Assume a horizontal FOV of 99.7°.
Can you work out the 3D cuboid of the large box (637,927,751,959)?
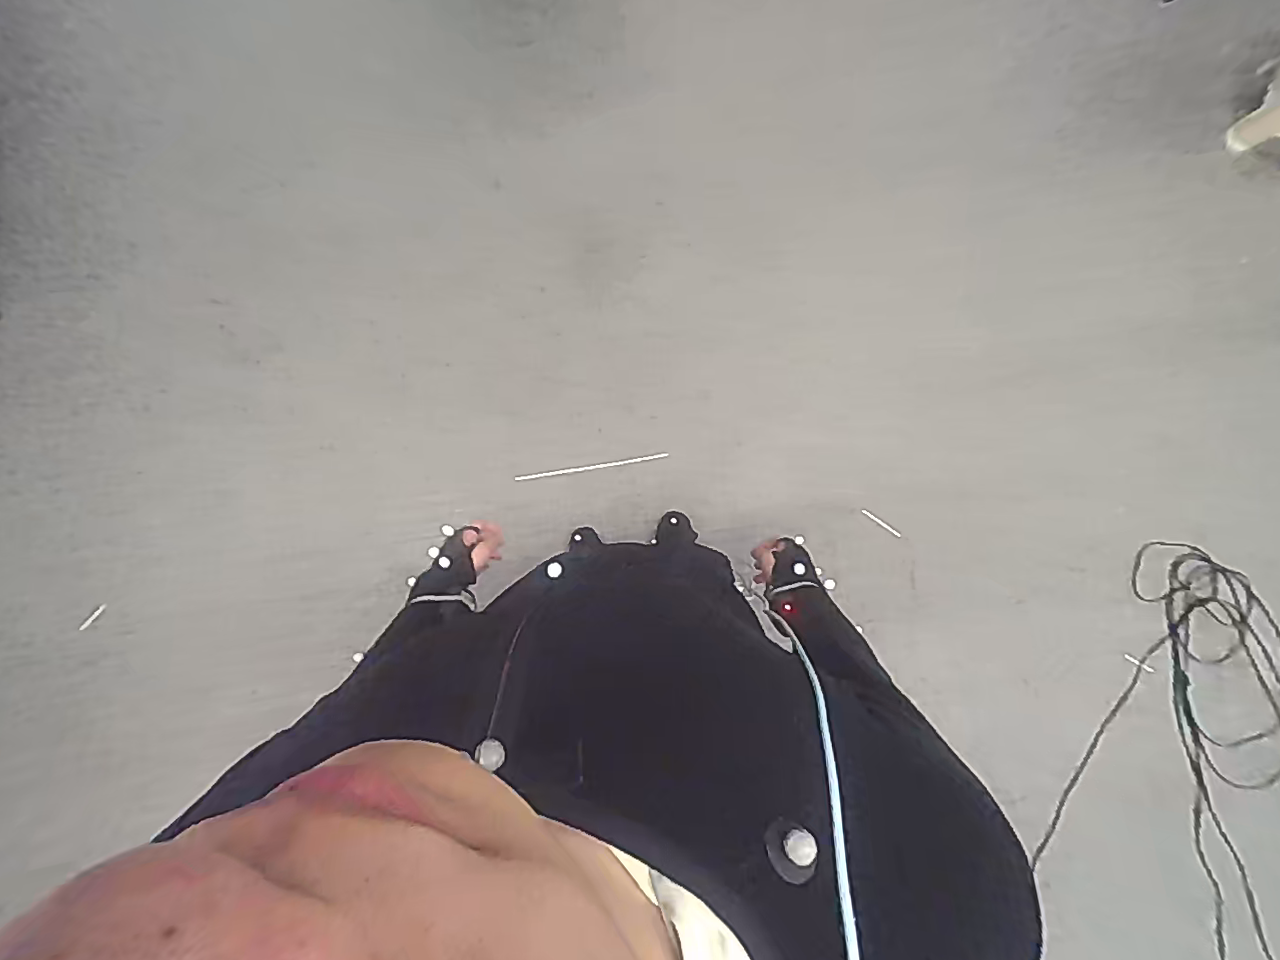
[{"bbox_3d":[0.147,1.479,1.404,0.408,0.320,0.320,-17,85,-1],"label":"large box"}]
